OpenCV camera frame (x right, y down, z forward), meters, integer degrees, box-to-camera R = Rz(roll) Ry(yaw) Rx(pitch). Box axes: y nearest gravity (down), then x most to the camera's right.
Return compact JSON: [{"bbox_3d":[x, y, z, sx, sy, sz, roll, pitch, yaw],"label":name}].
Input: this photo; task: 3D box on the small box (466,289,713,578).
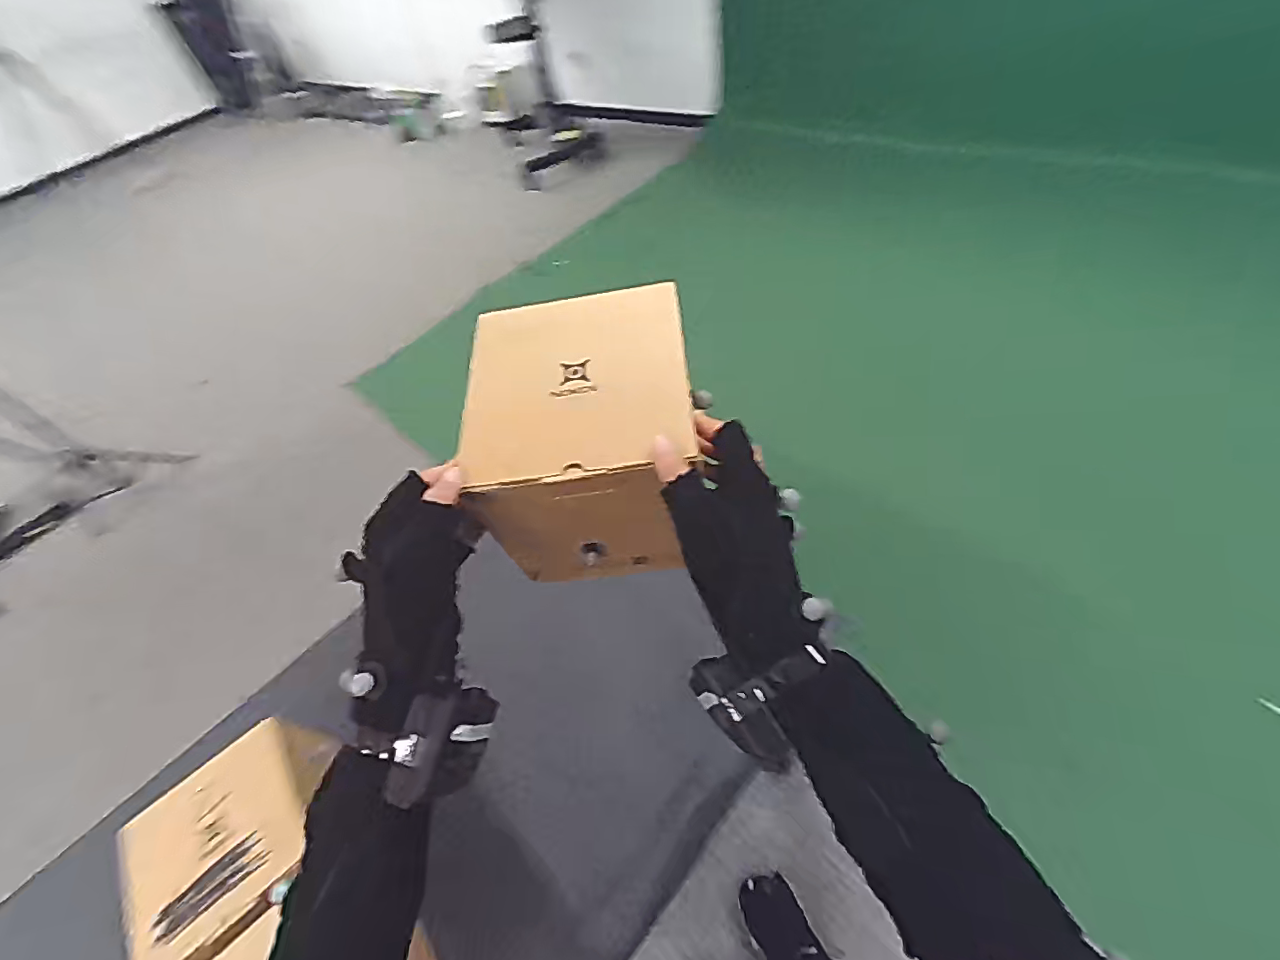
[{"bbox_3d":[-0.028,-0.032,0.467,0.168,0.176,0.179,-7,58,7],"label":"small box"}]
